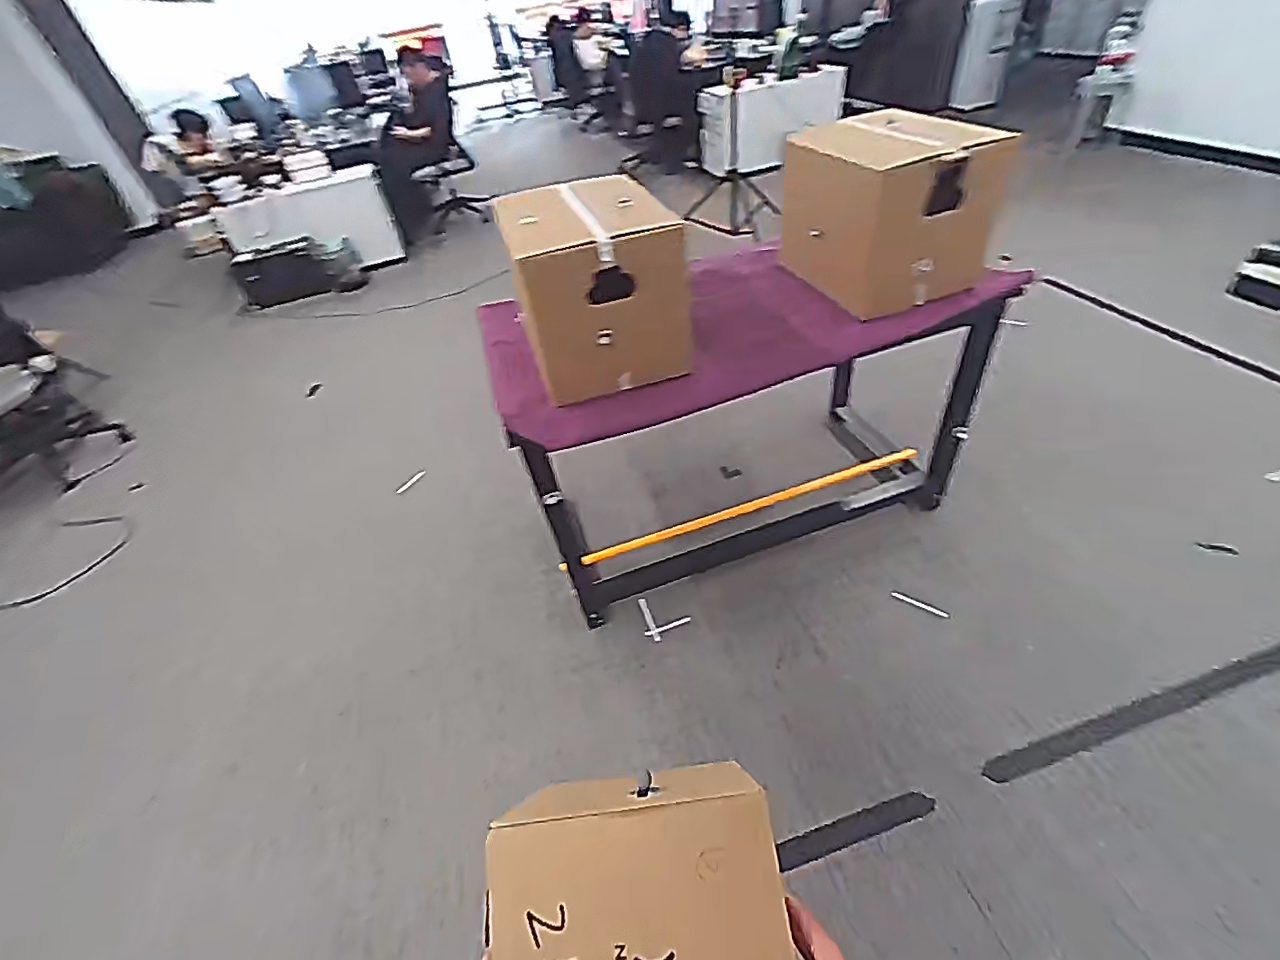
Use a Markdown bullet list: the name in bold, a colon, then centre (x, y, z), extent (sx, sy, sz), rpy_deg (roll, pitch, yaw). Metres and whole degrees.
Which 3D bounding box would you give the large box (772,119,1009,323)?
- **large box**: centre (0.546, -0.621, 1.279), extent (0.320, 0.320, 0.408), rpy_deg (-18, 42, -8)

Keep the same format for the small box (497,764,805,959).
- **small box**: centre (0.011, 0.304, 0.376), extent (0.179, 0.176, 0.168), rpy_deg (-8, 67, 1)
